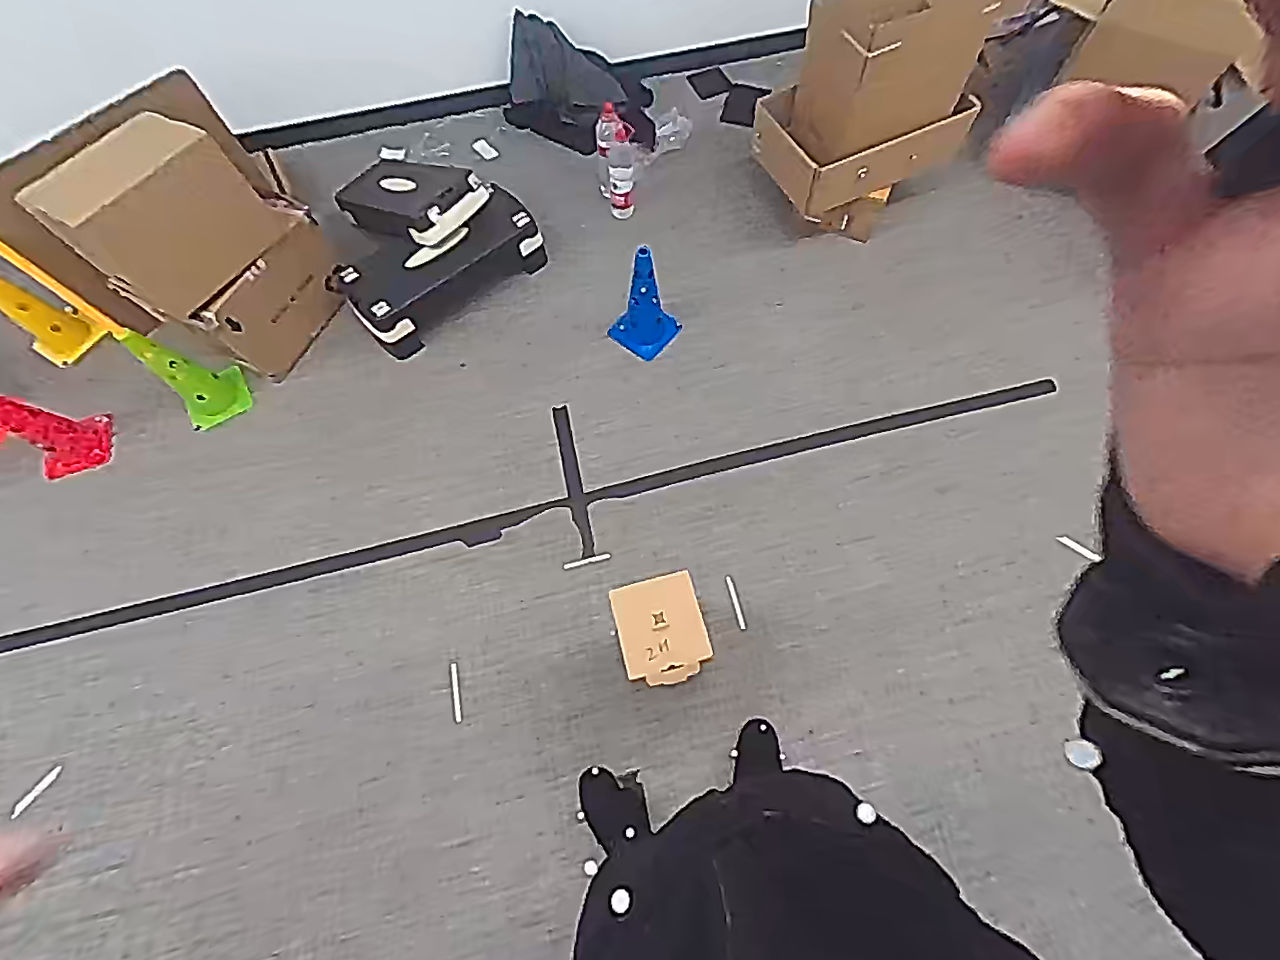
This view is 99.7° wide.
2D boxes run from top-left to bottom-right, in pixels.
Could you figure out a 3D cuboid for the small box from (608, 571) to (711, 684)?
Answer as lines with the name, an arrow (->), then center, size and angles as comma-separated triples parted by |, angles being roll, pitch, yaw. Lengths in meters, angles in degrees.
small box -> 0.034, 0.305, 1.100 | 0.168, 0.176, 0.179 | -14, 68, -5
